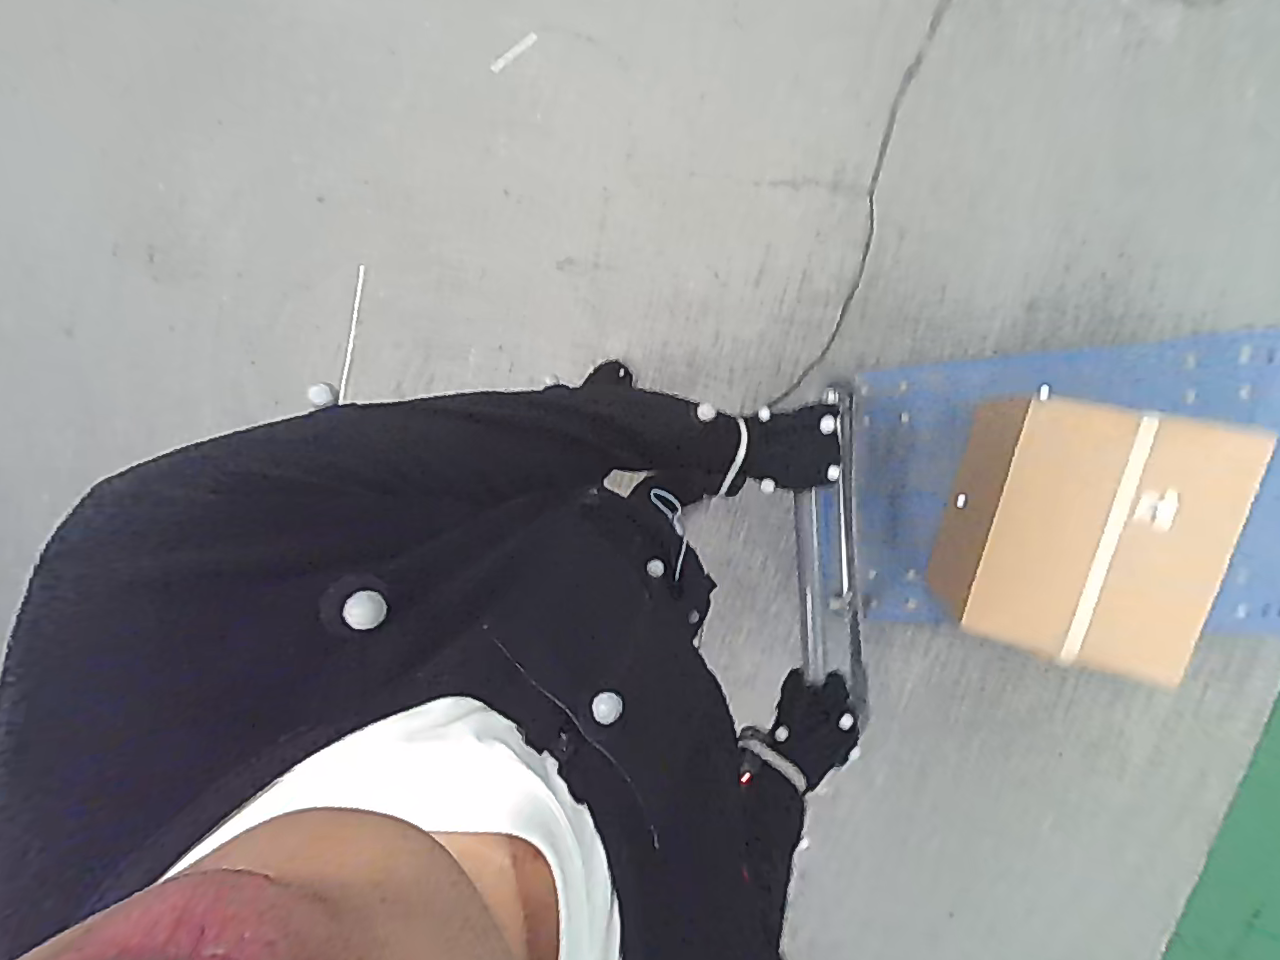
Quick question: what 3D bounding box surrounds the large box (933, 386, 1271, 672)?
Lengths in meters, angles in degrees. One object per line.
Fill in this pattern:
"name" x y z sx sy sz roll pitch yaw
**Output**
"large box" 0.775 0.062 0.987 0.320 0.320 0.408 14 100 16
